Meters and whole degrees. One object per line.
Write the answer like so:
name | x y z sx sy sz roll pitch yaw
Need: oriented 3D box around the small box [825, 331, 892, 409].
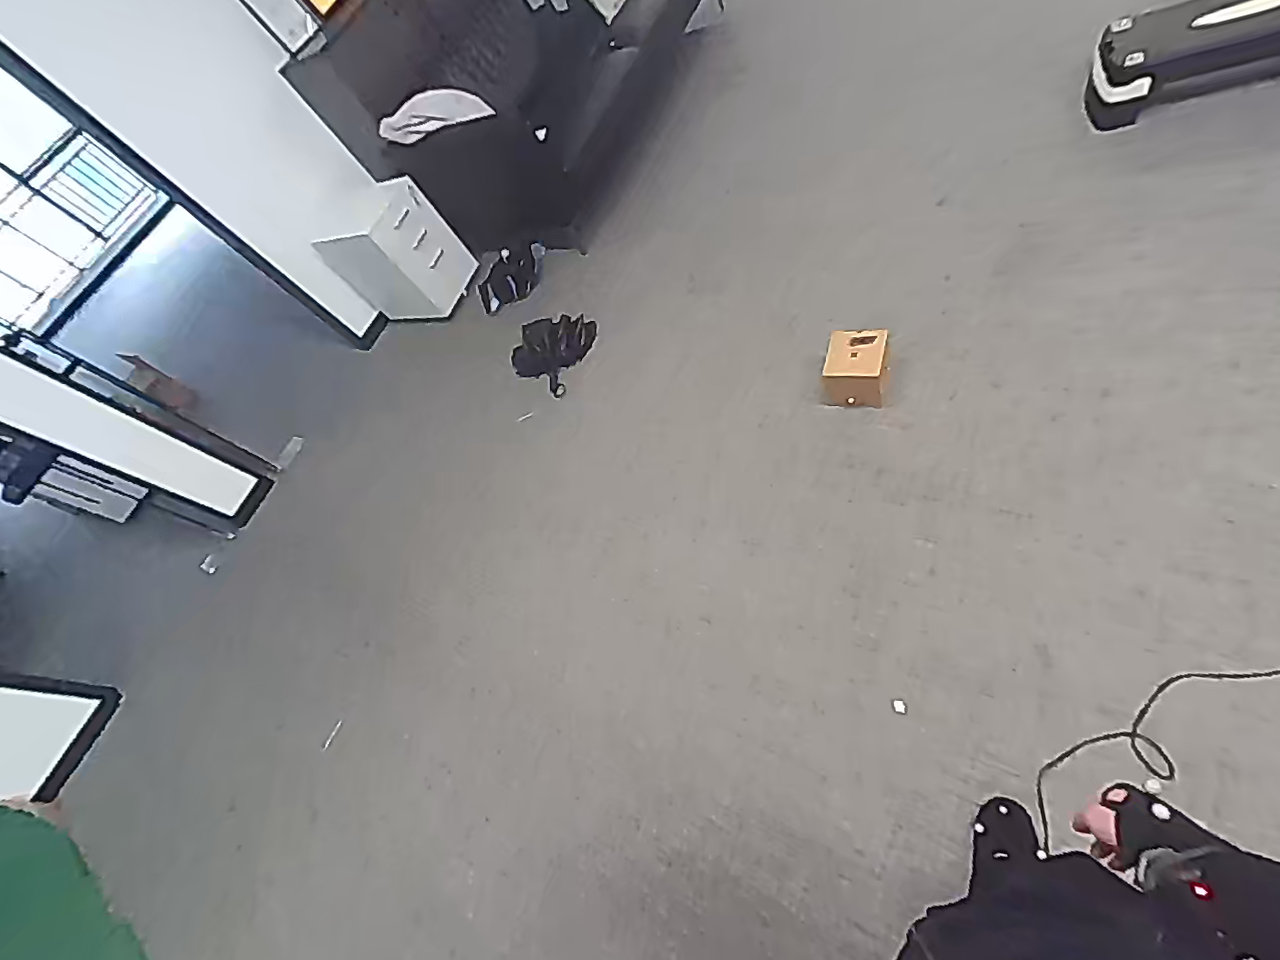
small box | 0.692 -0.345 1.701 0.168 0.176 0.179 7 67 31
